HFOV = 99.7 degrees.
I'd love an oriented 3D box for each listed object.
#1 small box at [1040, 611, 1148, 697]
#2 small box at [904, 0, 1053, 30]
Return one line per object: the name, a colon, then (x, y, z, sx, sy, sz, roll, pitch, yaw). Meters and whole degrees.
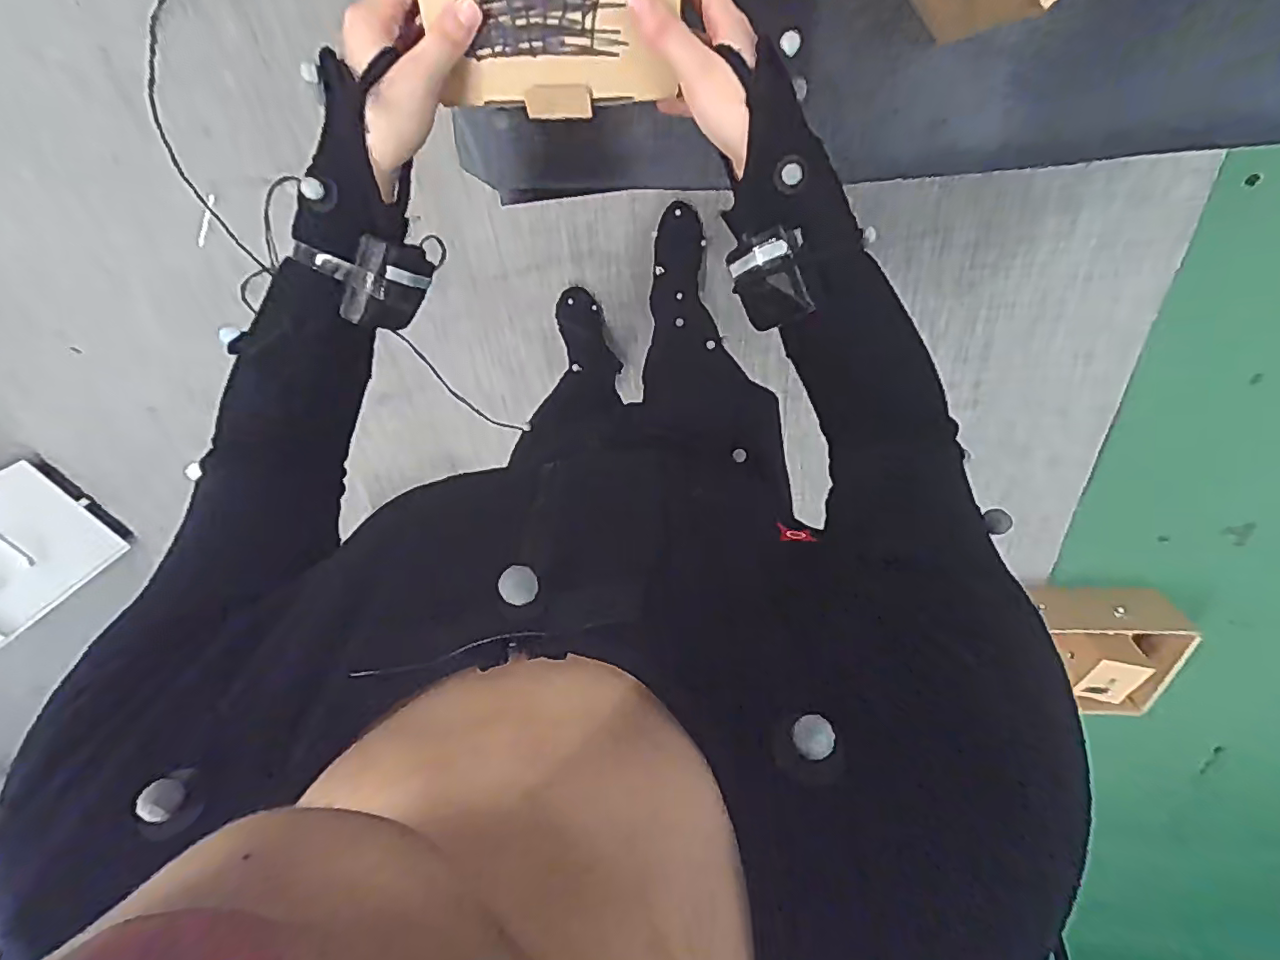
small box: (1.407, 0.544, 1.697, 0.168, 0.176, 0.179, 11, 125, -1)
small box: (0.234, -0.420, 0.326, 0.179, 0.176, 0.168, 39, 118, -19)
